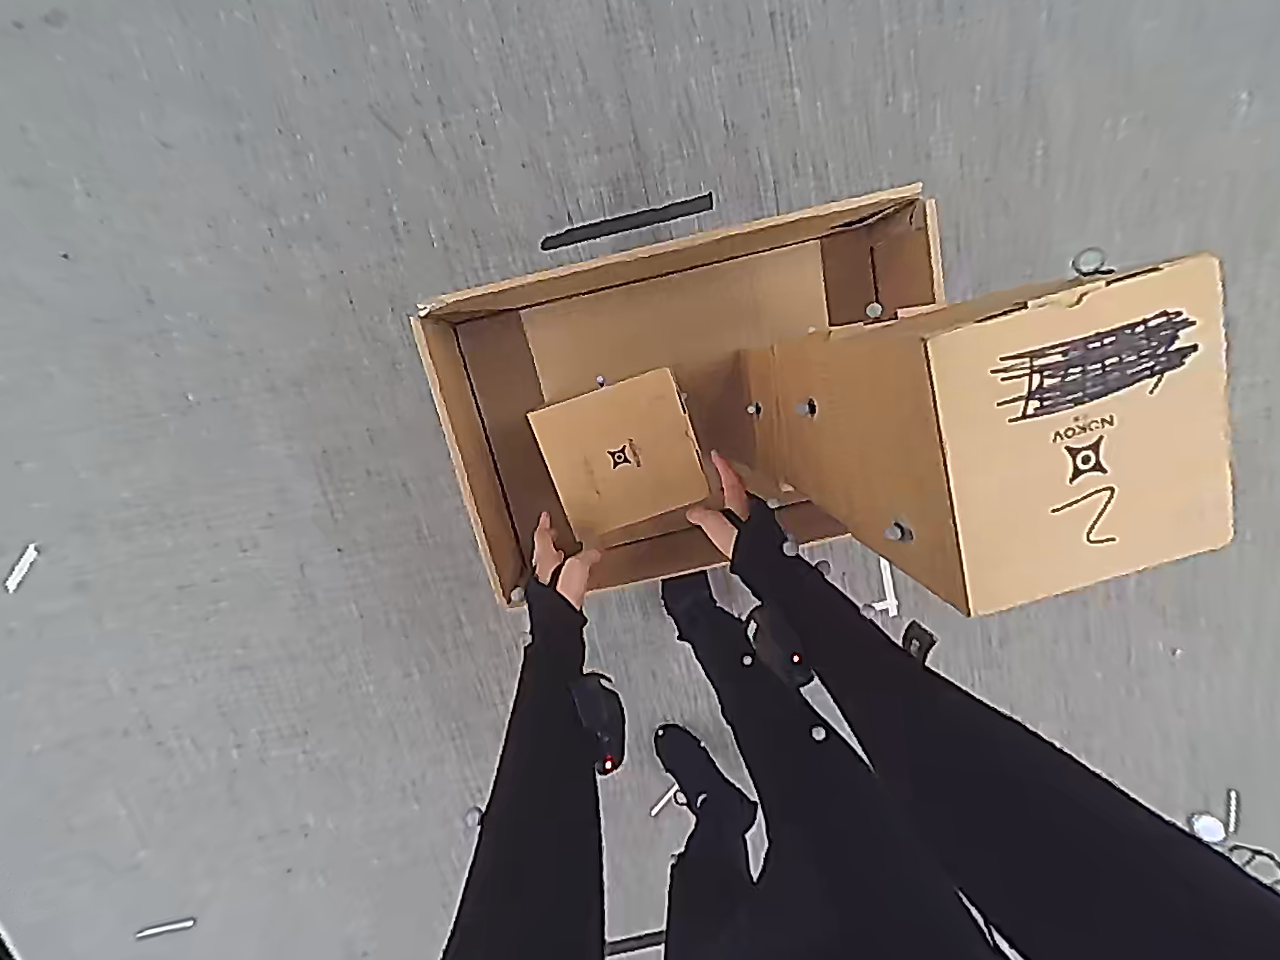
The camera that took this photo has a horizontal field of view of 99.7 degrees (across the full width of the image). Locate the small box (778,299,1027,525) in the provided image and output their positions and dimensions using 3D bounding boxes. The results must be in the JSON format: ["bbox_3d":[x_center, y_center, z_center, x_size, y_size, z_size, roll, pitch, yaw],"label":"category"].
[{"bbox_3d":[0.249,-0.070,0.546,0.168,0.176,0.179,-10,101,-1],"label":"small box"}]
